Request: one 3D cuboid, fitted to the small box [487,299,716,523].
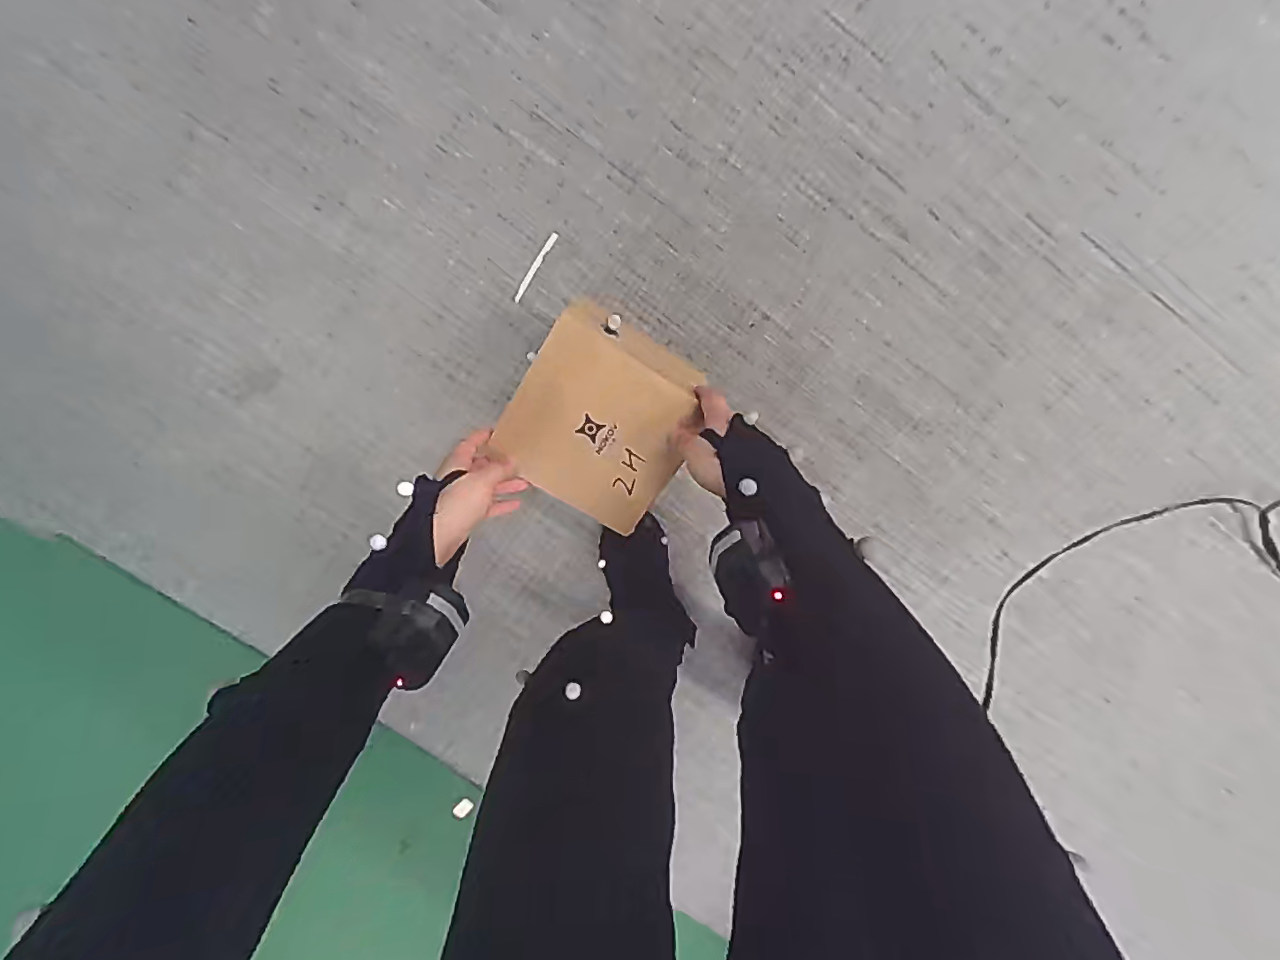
[{"bbox_3d":[-0.038,-0.088,0.610,0.179,0.176,0.168,31,111,-11],"label":"small box"}]
